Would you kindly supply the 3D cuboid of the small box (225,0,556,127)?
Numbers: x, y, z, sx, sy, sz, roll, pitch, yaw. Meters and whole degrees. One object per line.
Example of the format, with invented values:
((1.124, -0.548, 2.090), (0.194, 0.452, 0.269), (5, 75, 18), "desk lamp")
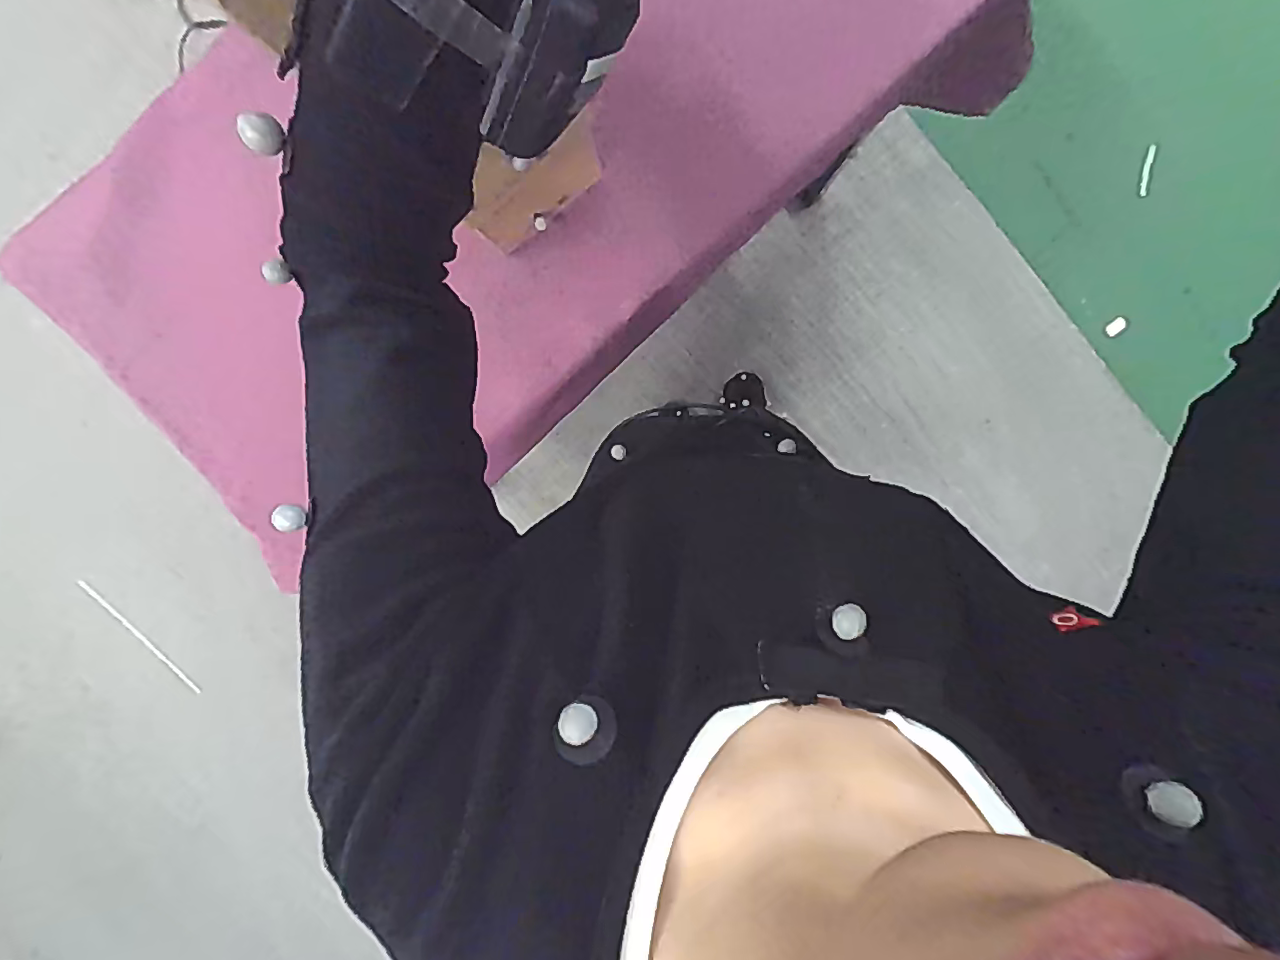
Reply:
((-0.166, -0.338, 0.296), (0.168, 0.176, 0.179), (-37, 94, 7), "small box")

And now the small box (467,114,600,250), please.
((-0.166, -0.401, 0.618), (0.168, 0.176, 0.179), (-37, 95, 7), "small box")
